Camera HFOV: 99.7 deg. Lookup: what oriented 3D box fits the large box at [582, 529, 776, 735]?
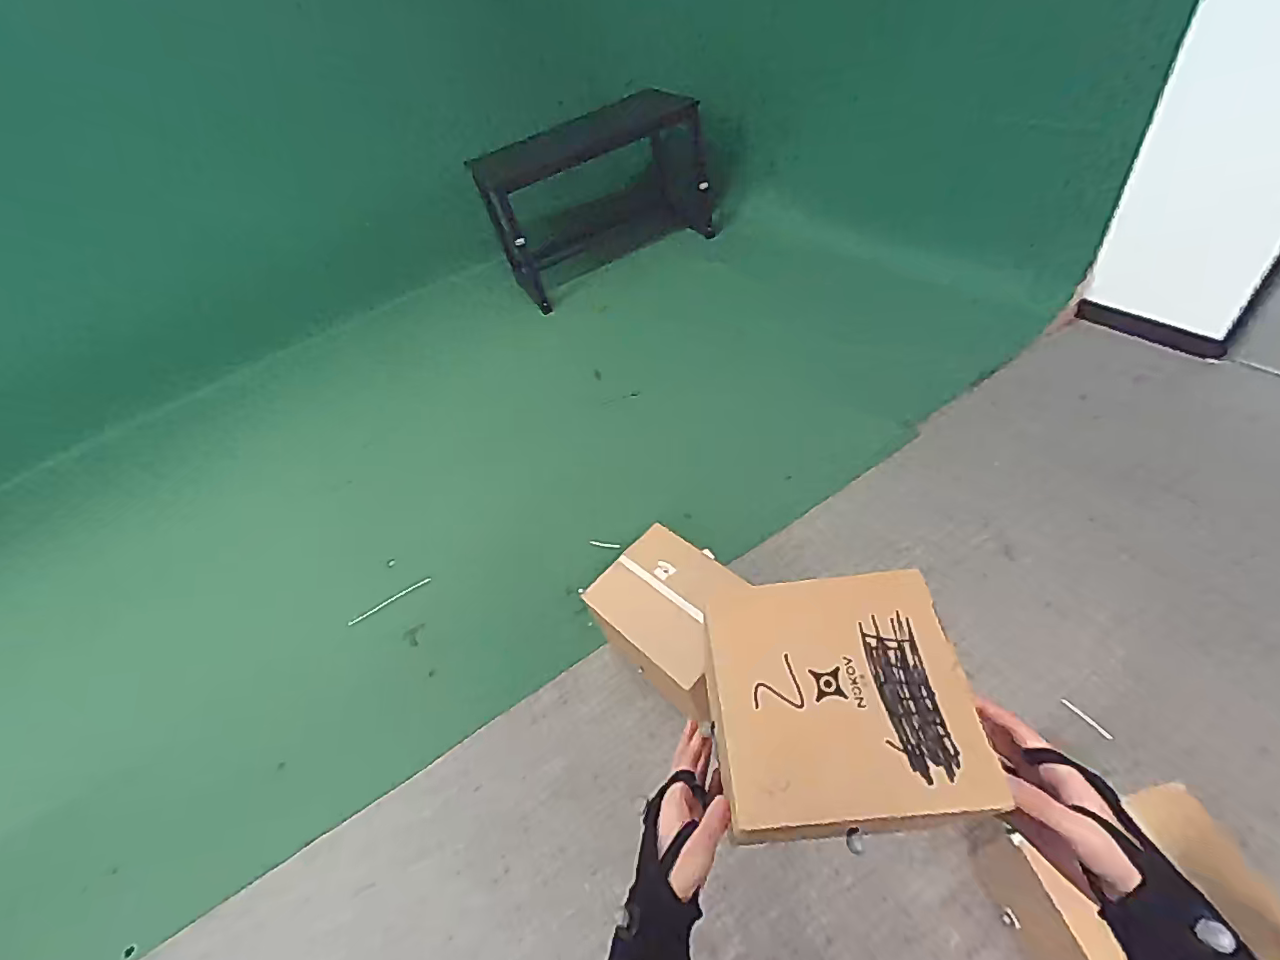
[{"bbox_3d":[0.118,0.413,1.503,0.320,0.320,0.408,-41,49,-22],"label":"large box"}]
